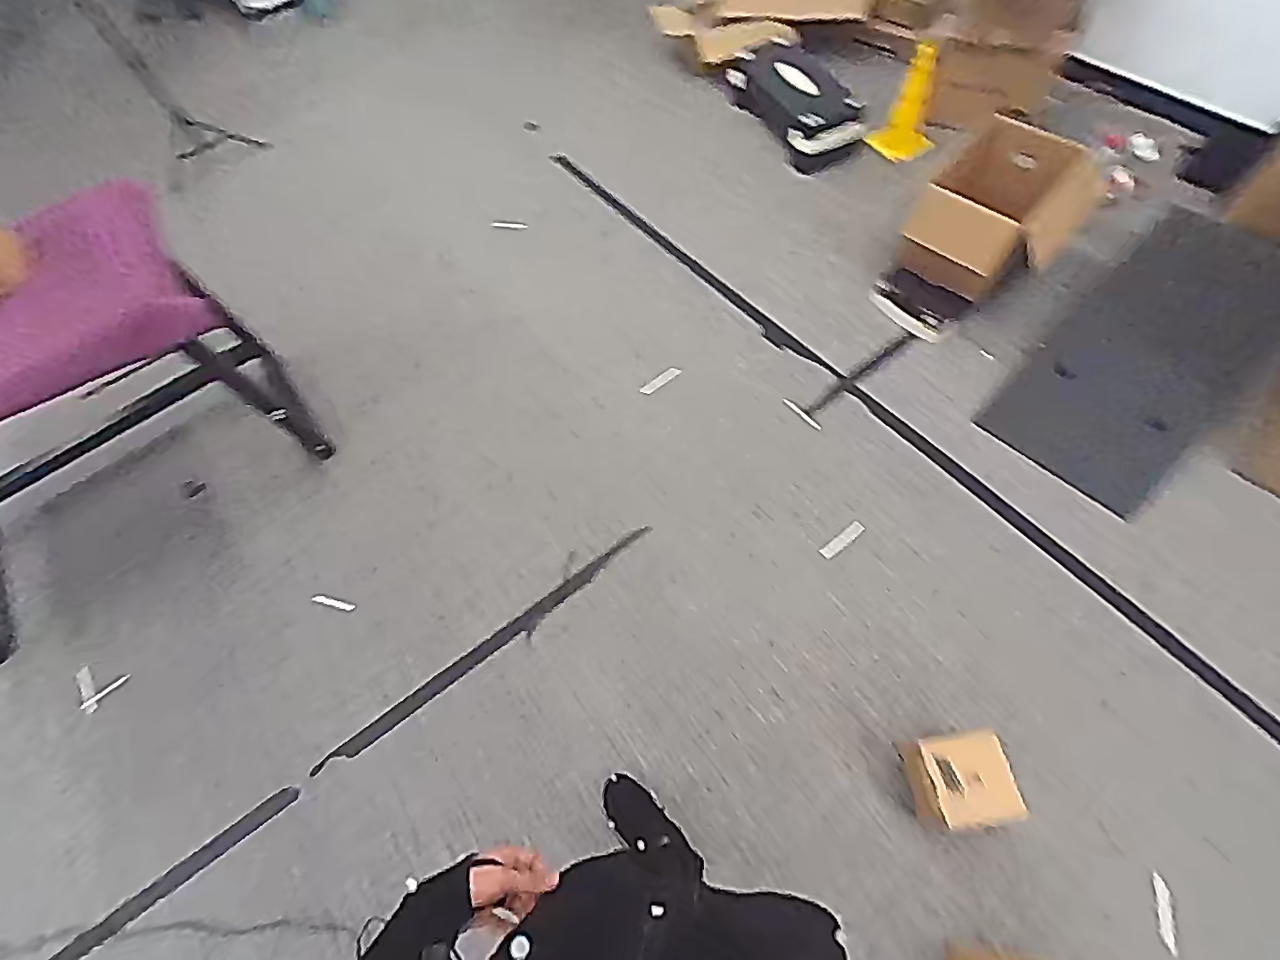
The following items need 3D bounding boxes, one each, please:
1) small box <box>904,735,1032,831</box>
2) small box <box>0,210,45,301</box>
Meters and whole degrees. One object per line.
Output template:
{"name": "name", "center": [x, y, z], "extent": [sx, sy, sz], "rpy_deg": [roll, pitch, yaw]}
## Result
{"name": "small box", "center": [0.723, 0.682, 1.223], "extent": [0.179, 0.176, 0.168], "rpy_deg": [-9, 63, 1]}
{"name": "small box", "center": [-1.601, -0.555, 1.300], "extent": [0.168, 0.176, 0.179], "rpy_deg": [-29, 66, -8]}
